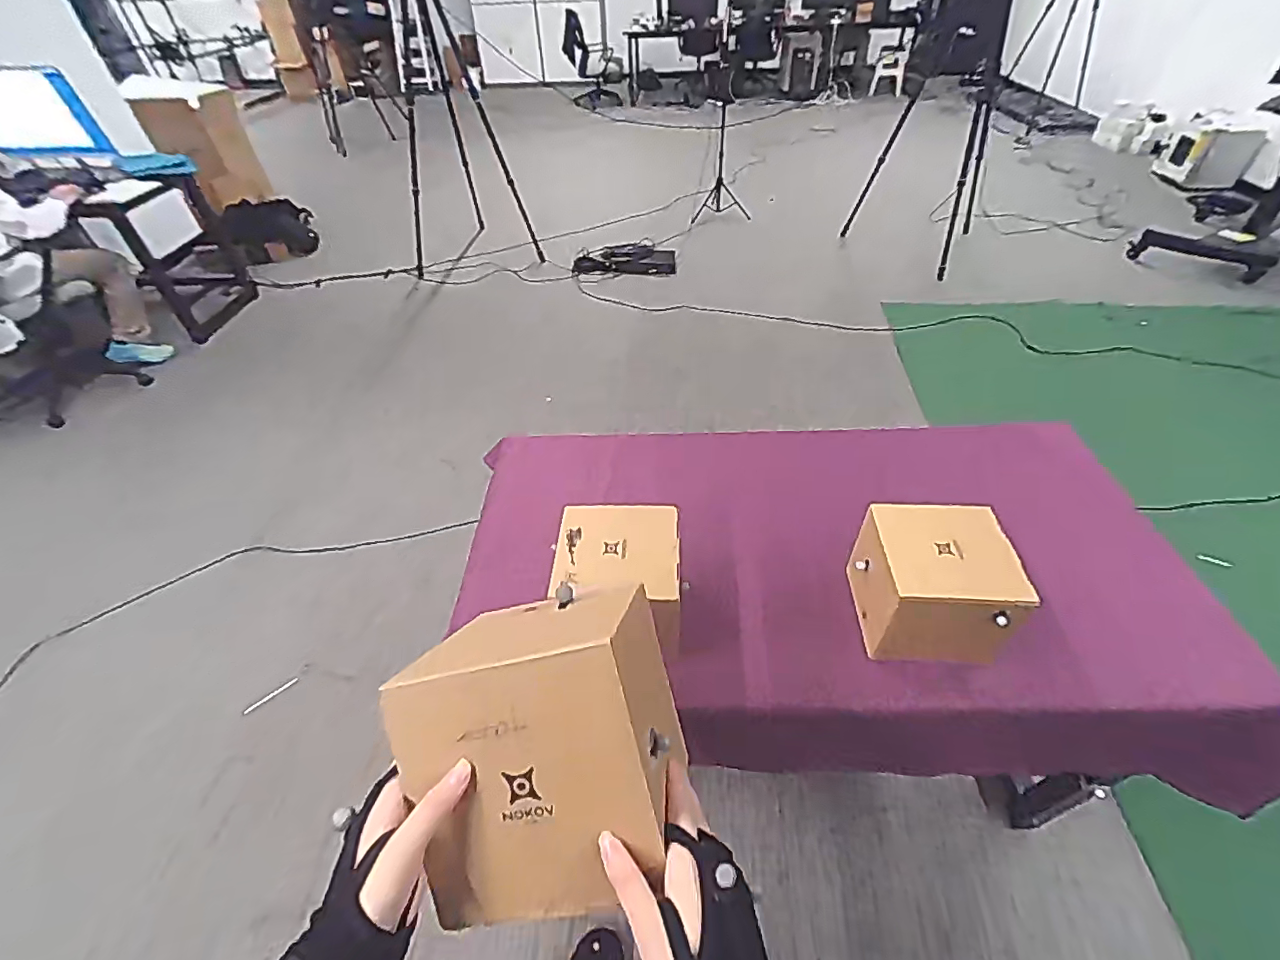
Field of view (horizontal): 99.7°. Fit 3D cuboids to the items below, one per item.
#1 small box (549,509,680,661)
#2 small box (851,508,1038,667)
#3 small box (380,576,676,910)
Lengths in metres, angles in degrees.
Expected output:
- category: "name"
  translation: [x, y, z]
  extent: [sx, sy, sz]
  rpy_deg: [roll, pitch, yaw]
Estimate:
- category: "small box"
  translation: [-0.030, 0.162, 0.815]
  extent: [0.179, 0.176, 0.168]
  rpy_deg: [1, 44, 3]
- category: "small box"
  translation: [0.422, 0.159, 0.792]
  extent: [0.179, 0.176, 0.168]
  rpy_deg: [1, 44, 4]
- category: "small box"
  translation: [-0.070, 0.192, 0.437]
  extent: [0.168, 0.179, 0.176]
  rpy_deg: [-13, 1, 8]
